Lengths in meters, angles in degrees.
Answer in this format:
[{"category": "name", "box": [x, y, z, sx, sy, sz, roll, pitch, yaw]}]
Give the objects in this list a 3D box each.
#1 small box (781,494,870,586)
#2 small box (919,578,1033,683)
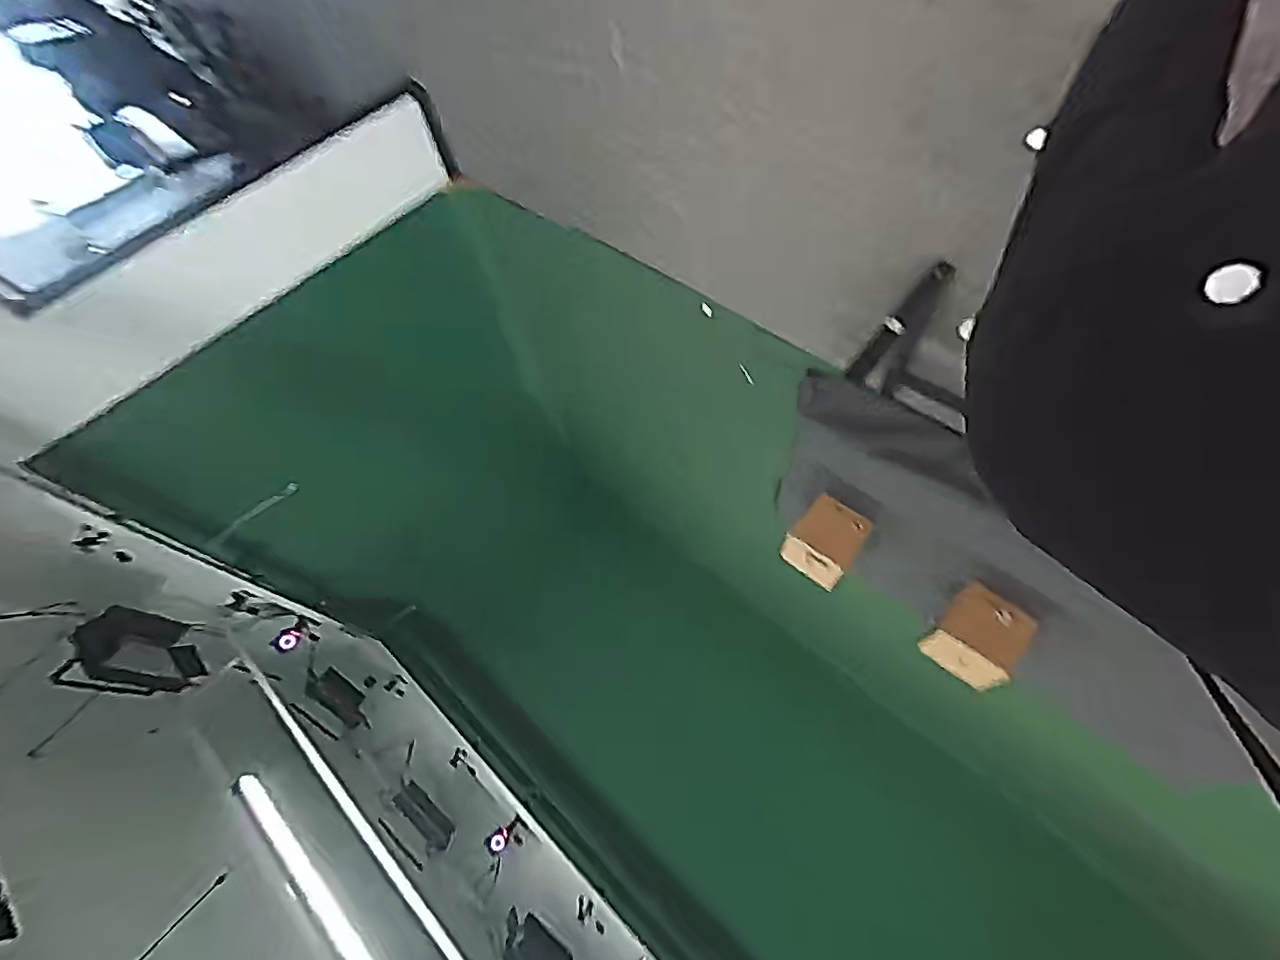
[{"category": "small box", "box": [0.531, 0.169, 1.546, 0.168, 0.176, 0.179, 35, 160, 21]}, {"category": "small box", "box": [0.851, 0.380, 1.373, 0.168, 0.176, 0.179, 33, 158, 23]}]
